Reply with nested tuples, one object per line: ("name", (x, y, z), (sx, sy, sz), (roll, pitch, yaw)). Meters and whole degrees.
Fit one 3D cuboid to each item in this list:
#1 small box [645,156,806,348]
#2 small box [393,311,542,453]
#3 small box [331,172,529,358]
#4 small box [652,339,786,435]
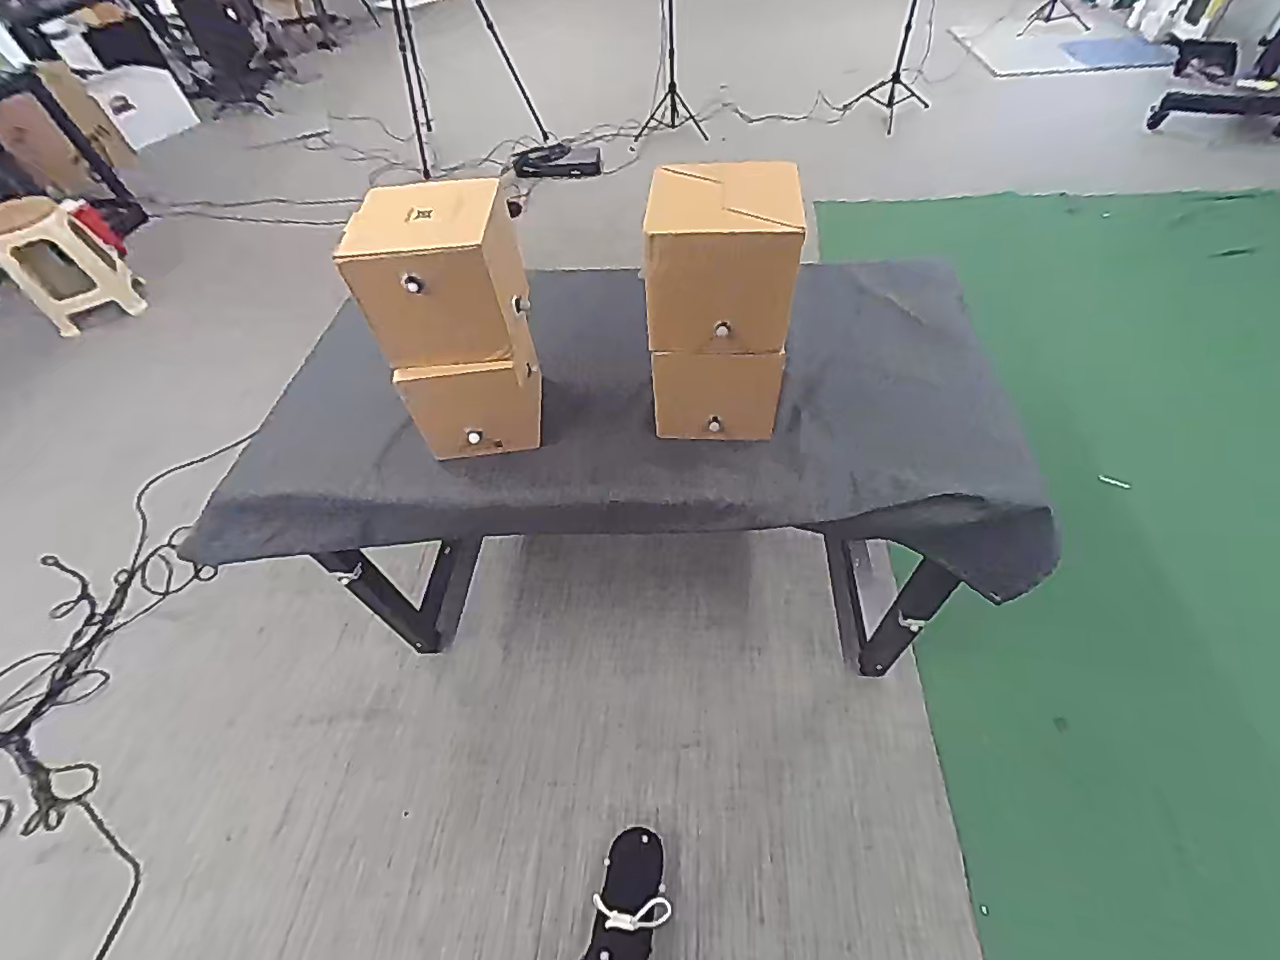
("small box", (0.100, -0.287, 0.681), (0.179, 0.176, 0.168), (2, 53, 7))
("small box", (-0.250, -0.165, 0.830), (0.168, 0.176, 0.179), (-7, 53, 0))
("small box", (-0.256, -0.276, 0.710), (0.179, 0.176, 0.168), (-3, 54, 1))
("small box", (0.113, -0.182, 0.813), (0.179, 0.176, 0.168), (2, 53, 6))
